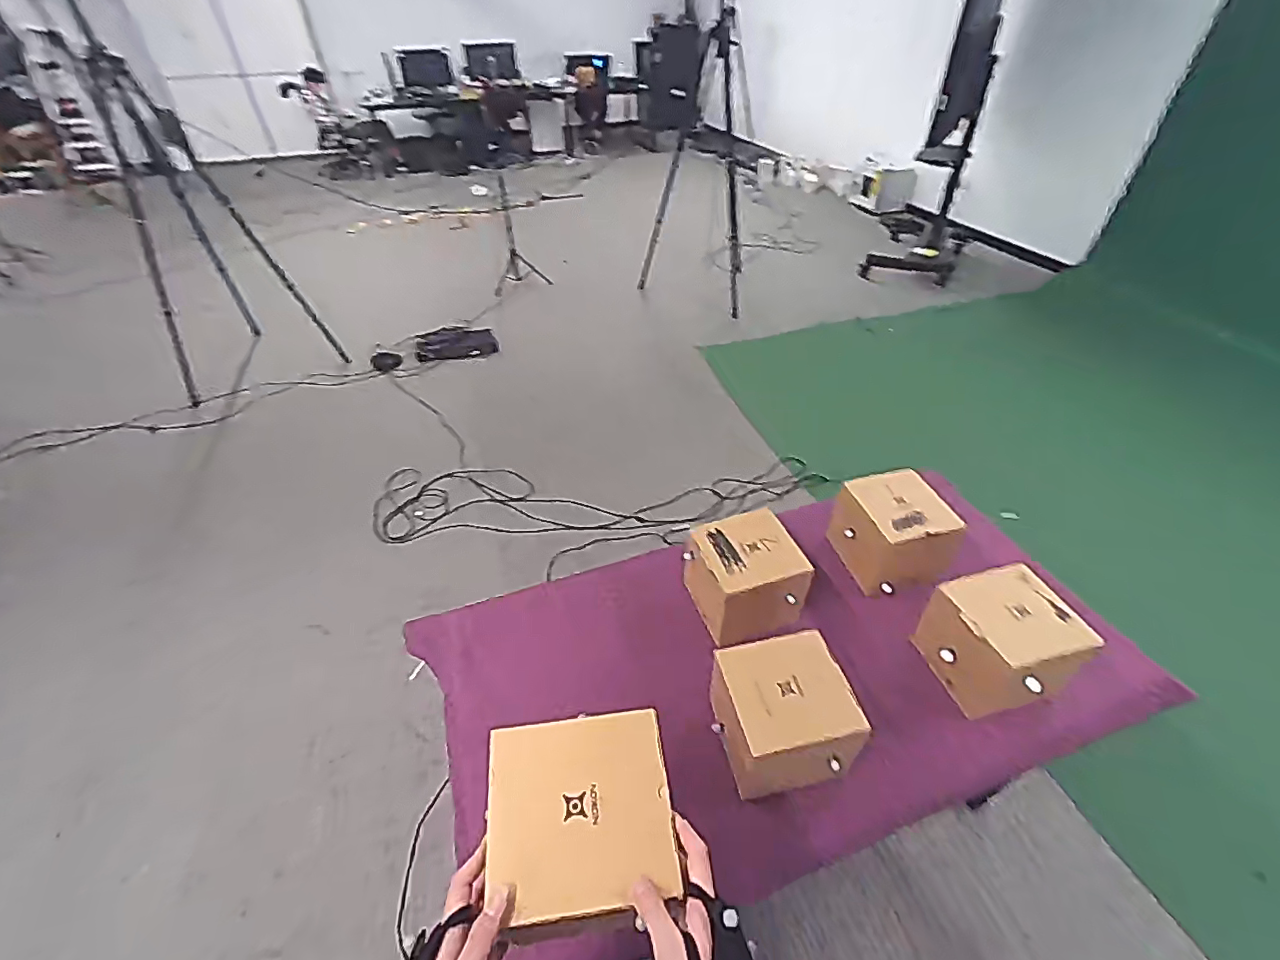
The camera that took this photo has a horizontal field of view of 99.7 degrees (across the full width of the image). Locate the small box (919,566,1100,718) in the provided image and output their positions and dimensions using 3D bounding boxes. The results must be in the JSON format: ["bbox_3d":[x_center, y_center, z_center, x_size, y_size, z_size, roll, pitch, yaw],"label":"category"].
[{"bbox_3d":[0.609,0.279,0.924,0.179,0.176,0.168,-11,42,-10],"label":"small box"}]

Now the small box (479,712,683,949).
[{"bbox_3d":[-0.060,0.366,0.566,0.179,0.176,0.168,-3,45,-7],"label":"small box"}]

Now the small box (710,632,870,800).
[{"bbox_3d":[0.217,0.366,0.838,0.179,0.176,0.168,-9,41,-8],"label":"small box"}]

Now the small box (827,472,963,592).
[{"bbox_3d":[0.512,0.112,1.115,0.168,0.176,0.179,-10,42,-10],"label":"small box"}]
